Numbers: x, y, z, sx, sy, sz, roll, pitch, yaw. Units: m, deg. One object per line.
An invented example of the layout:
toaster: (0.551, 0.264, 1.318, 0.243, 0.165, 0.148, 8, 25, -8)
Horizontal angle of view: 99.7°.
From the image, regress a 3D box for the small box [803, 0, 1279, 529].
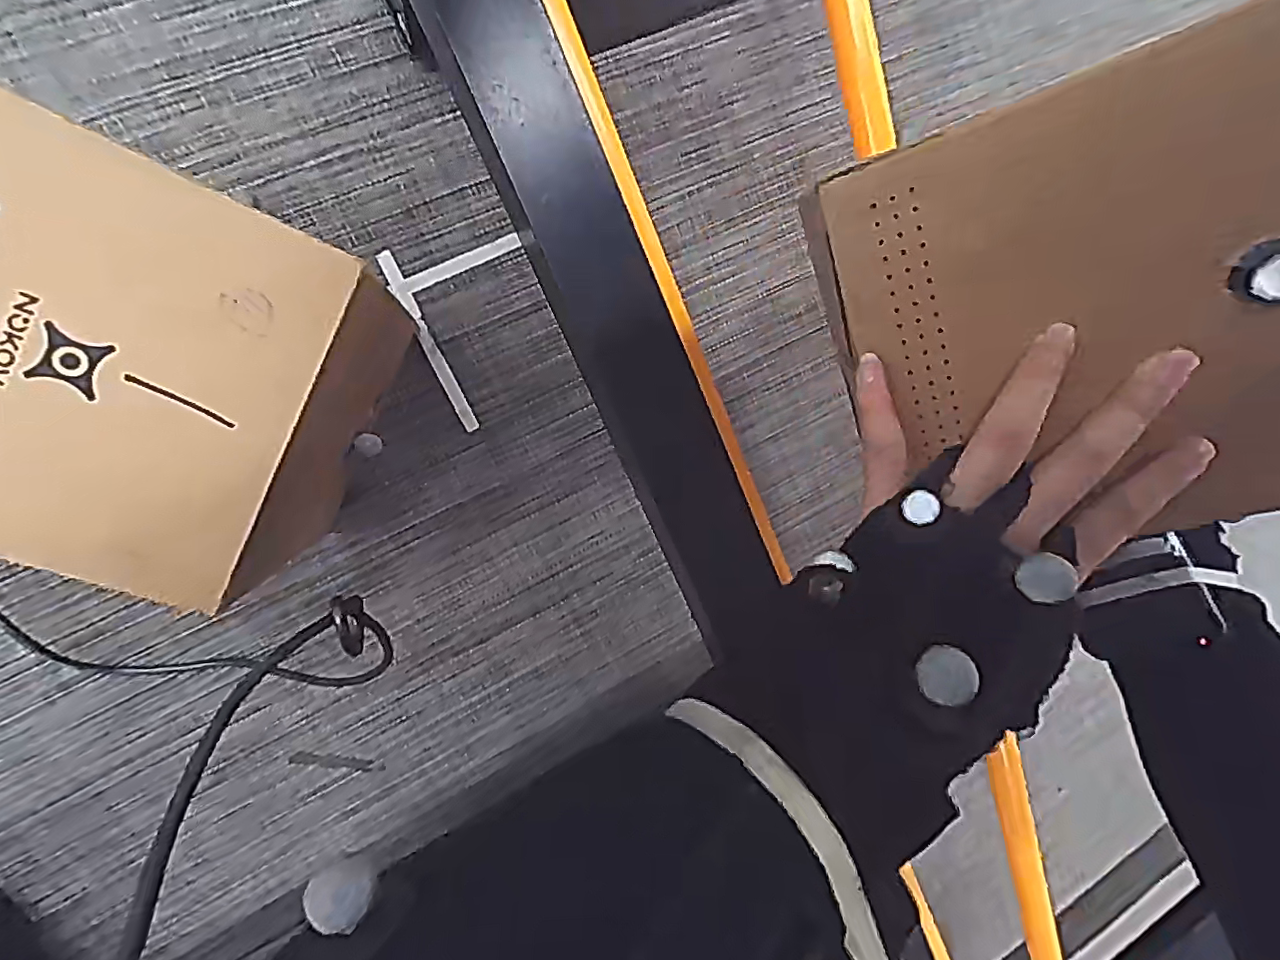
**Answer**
small box: (0.187, -0.091, 0.269, 0.176, 0.168, 0.179, -17, 110, 19)
